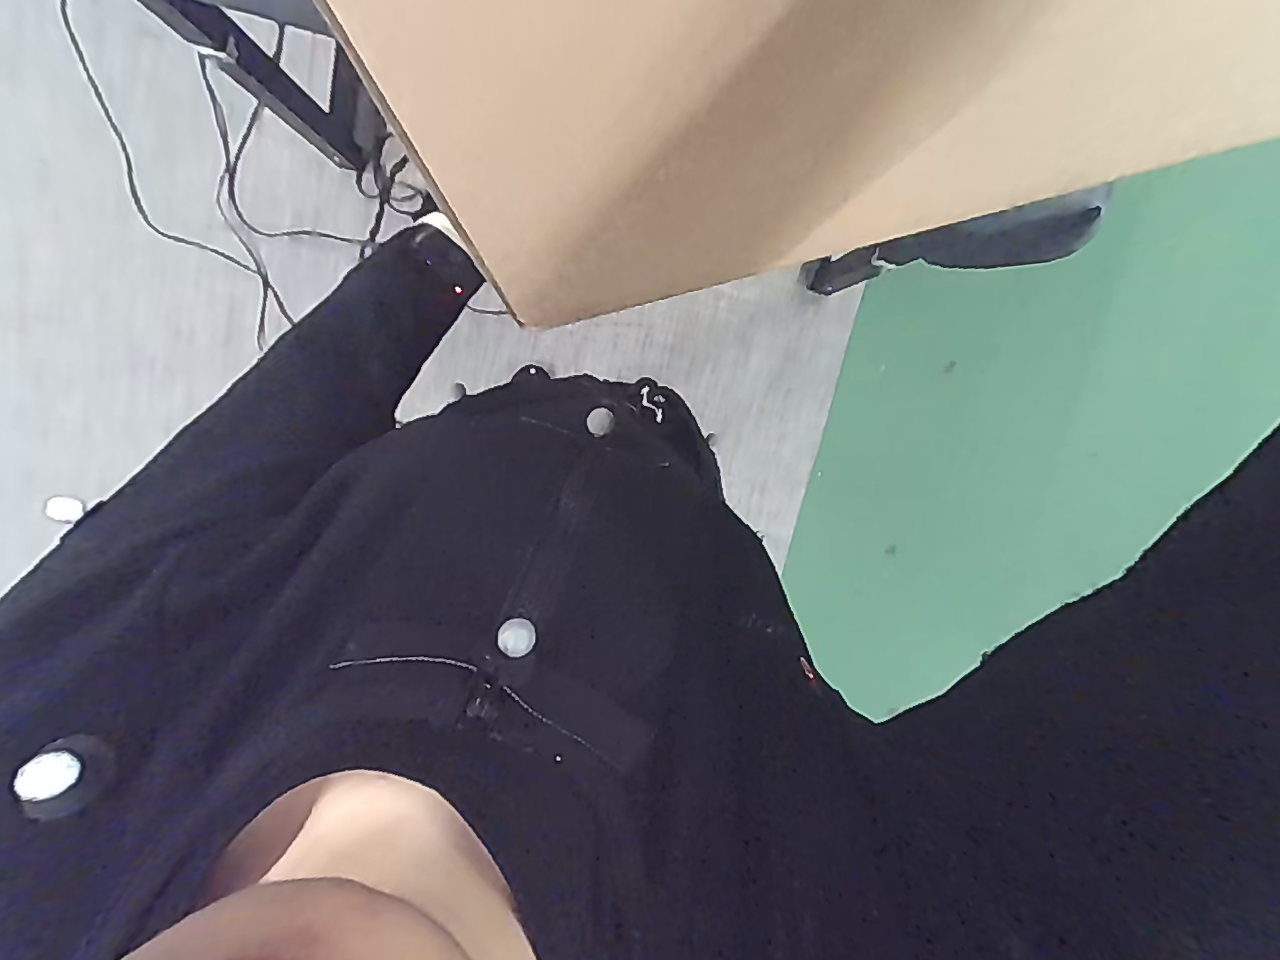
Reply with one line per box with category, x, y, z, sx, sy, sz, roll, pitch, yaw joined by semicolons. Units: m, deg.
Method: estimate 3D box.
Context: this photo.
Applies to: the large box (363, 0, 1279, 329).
large box;0.081;-0.335;0.263;0.408;0.320;0.320;-13;57;12
